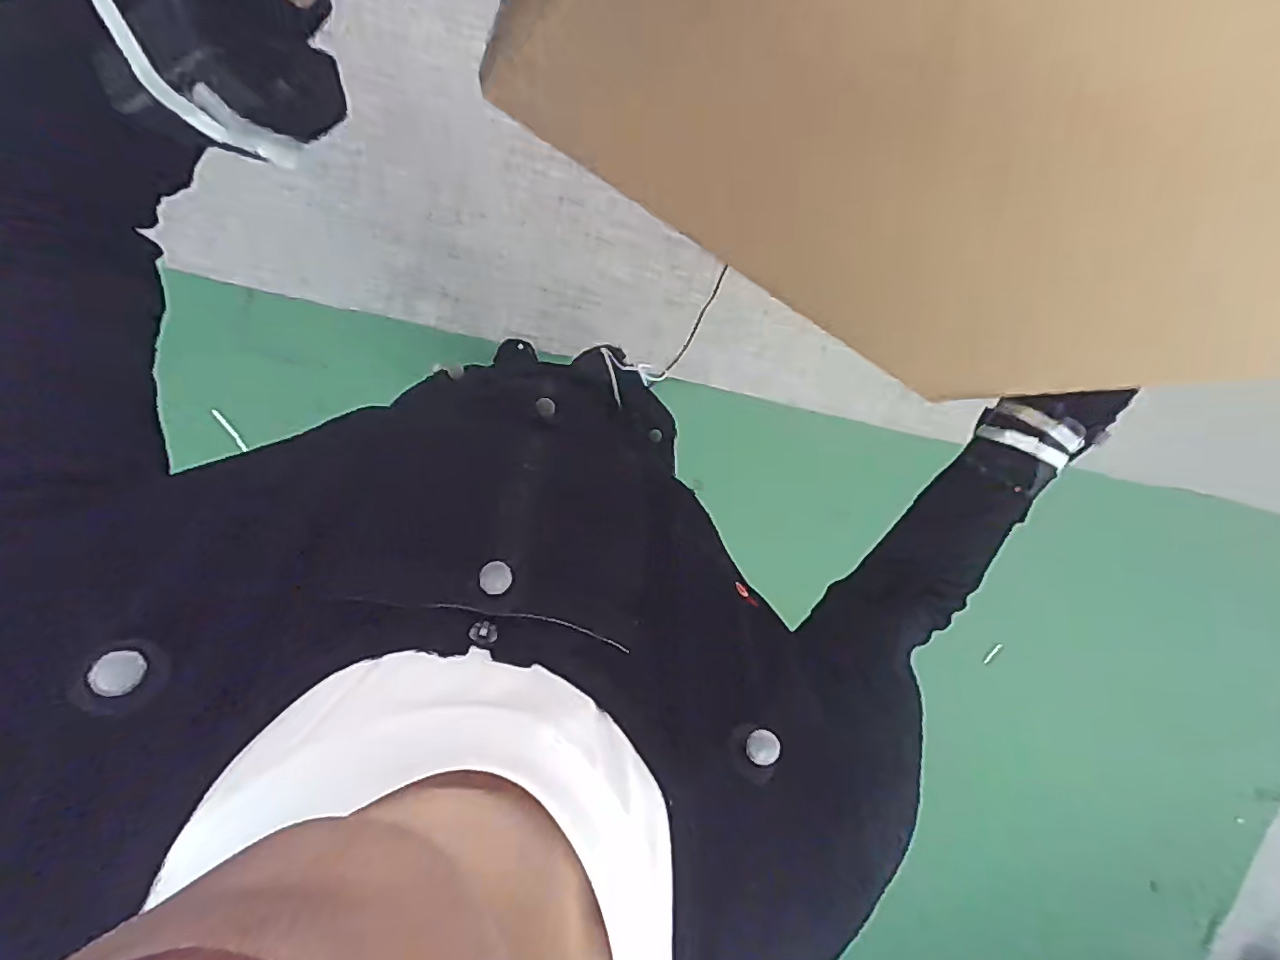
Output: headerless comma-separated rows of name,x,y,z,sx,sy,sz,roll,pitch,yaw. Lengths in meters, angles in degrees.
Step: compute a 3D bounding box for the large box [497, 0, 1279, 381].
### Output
large box,0.206,-0.268,0.239,0.408,0.320,0.320,19,83,-34
